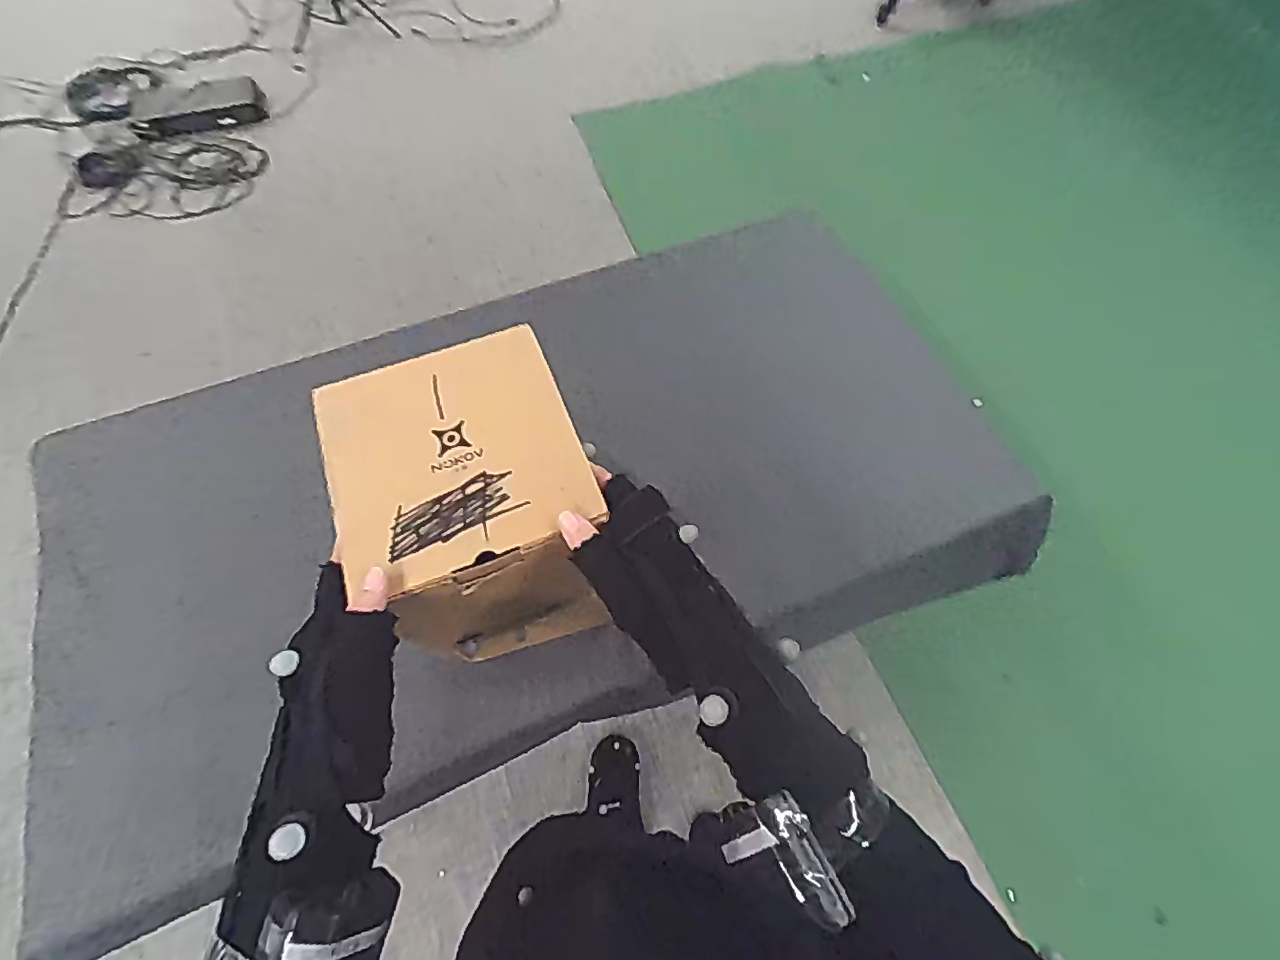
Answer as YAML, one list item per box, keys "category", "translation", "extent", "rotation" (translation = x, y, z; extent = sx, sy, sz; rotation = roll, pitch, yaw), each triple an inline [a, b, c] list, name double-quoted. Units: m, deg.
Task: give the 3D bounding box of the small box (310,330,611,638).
- category: "small box"
  translation: [-0.131, 0.017, 0.448]
  extent: [0.168, 0.176, 0.179]
  rotation: [-24, 67, -10]

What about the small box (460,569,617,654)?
- category: "small box"
  translation: [-0.133, 0.078, 0.604]
  extent: [0.179, 0.176, 0.168]
  rotation: [-18, 64, -9]
